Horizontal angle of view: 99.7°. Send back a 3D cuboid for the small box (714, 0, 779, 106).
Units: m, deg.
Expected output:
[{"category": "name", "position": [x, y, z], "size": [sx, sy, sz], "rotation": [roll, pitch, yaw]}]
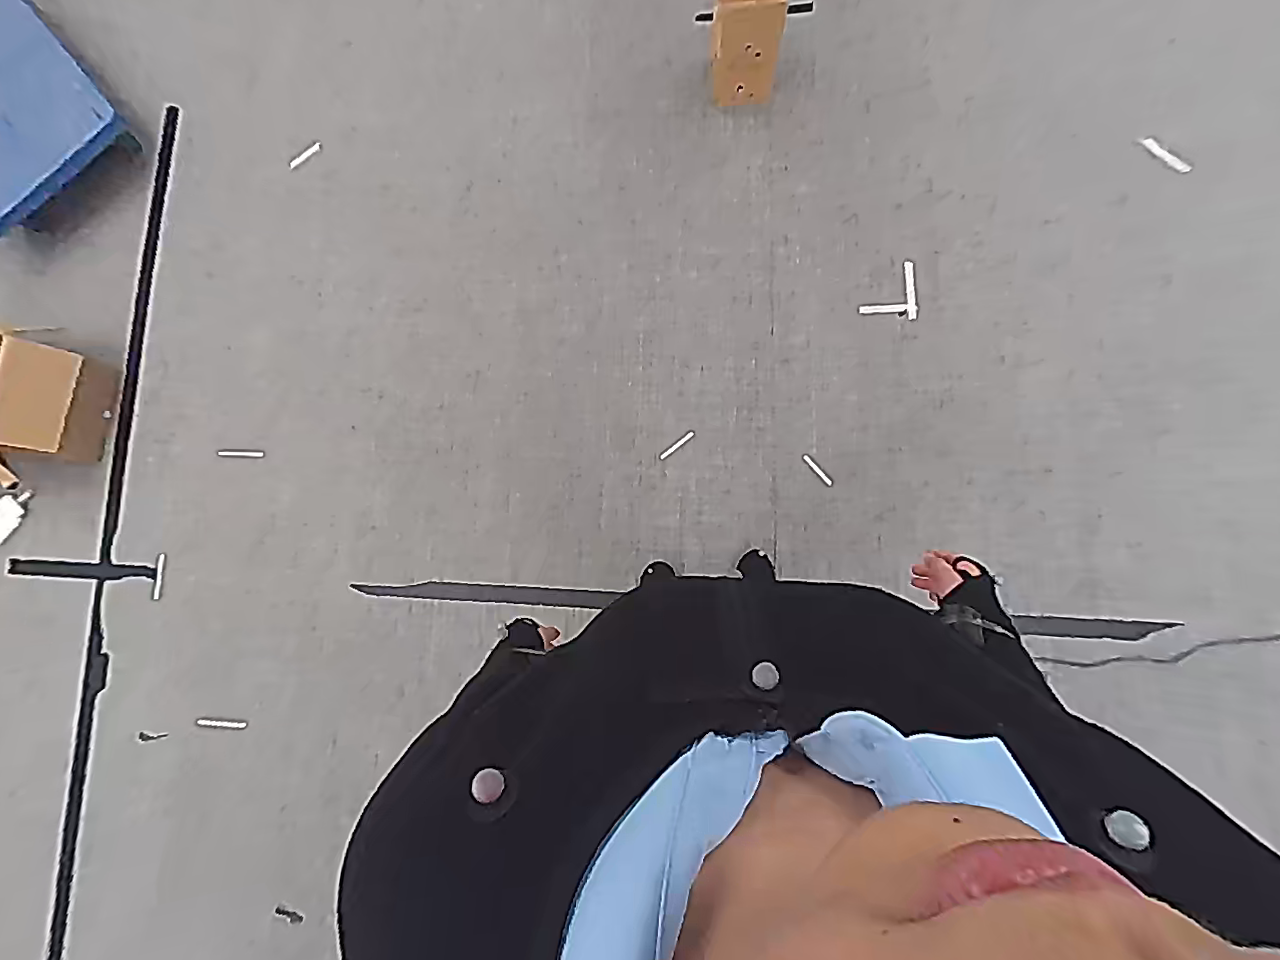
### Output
[{"category": "small box", "position": [0.308, -1.254, 1.594], "size": [0.168, 0.176, 0.179], "rotation": [-5, 83, 6]}]
